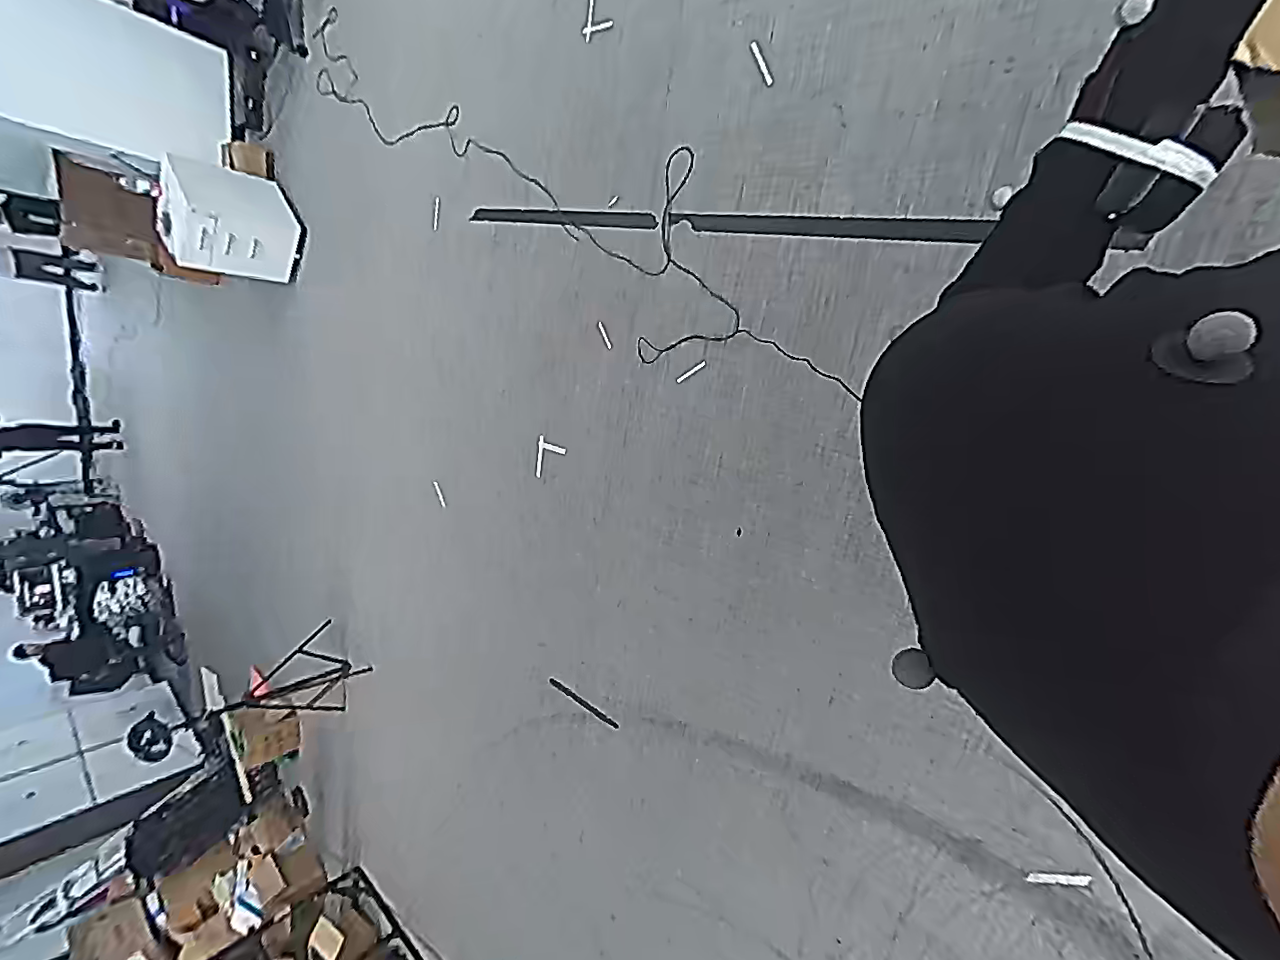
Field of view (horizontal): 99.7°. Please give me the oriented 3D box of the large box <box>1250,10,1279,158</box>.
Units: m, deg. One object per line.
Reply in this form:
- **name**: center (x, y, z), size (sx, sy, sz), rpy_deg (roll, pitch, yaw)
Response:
- **large box**: center (0.610, -0.280, 0.212), size (0.408, 0.320, 0.320), rpy_deg (42, 133, 32)
